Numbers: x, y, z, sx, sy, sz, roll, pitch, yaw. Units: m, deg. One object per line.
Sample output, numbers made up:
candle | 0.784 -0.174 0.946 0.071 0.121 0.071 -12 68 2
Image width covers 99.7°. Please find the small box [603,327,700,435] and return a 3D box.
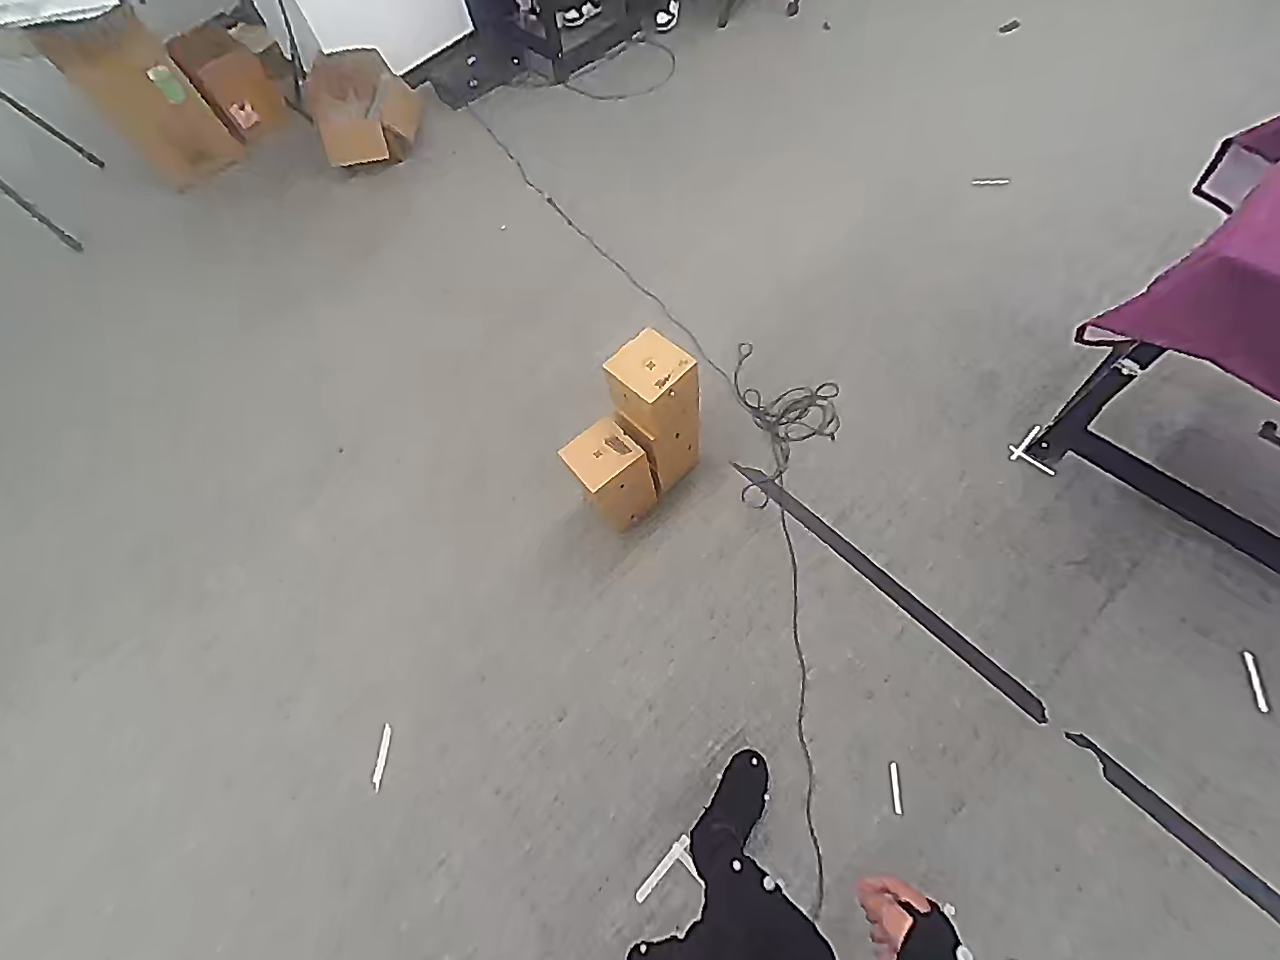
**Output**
small box | 0.034 -0.244 1.372 0.168 0.176 0.179 -44 65 -12

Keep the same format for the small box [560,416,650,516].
small box | -0.087 -0.035 1.473 0.179 0.176 0.168 -39 65 -8
